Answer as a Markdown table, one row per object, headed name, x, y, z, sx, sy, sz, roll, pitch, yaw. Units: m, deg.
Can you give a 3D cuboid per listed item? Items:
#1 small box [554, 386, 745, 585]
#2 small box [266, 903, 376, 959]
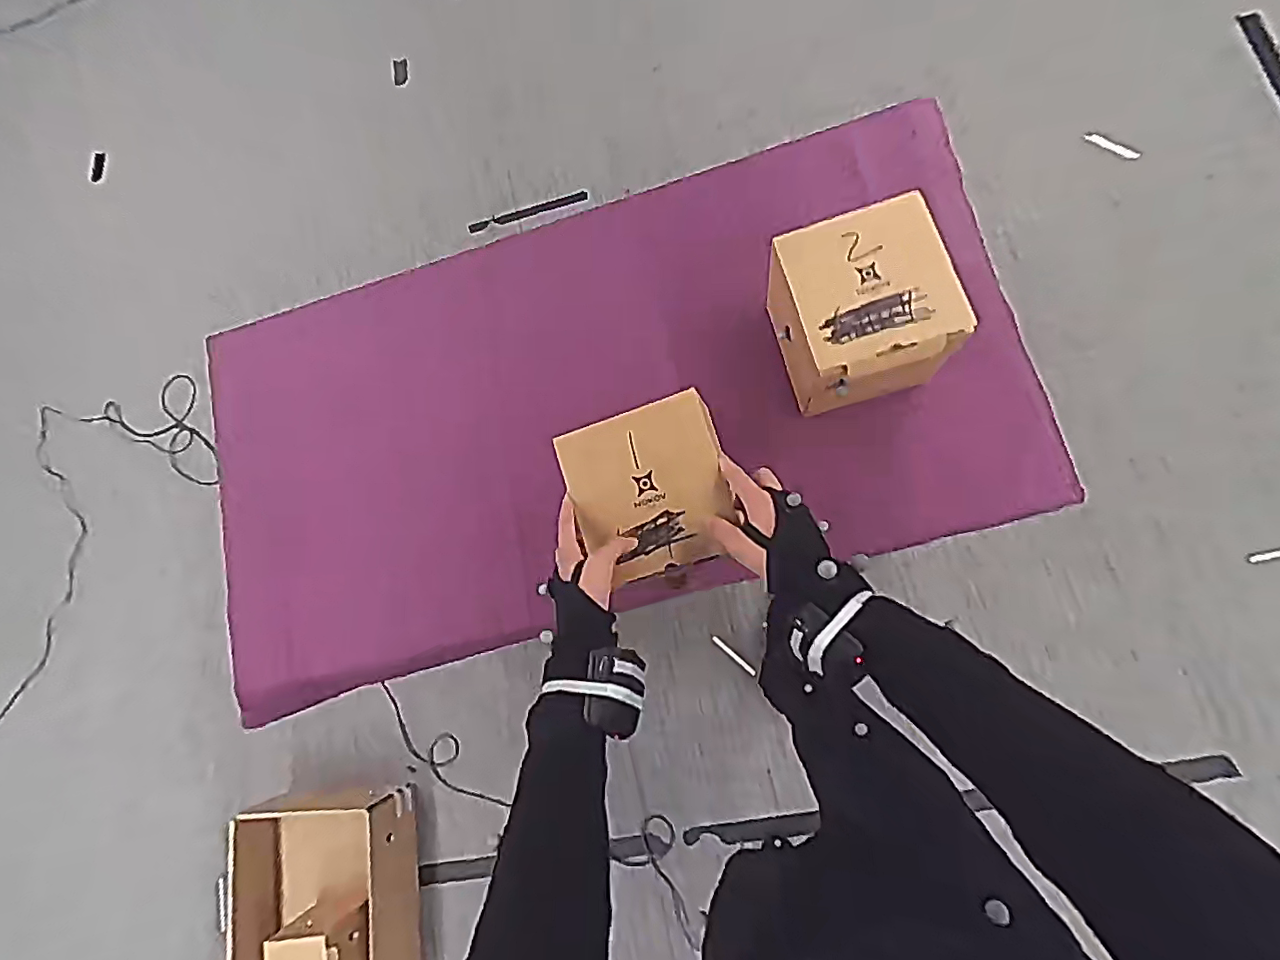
| name | x | y | z | sx | sy | sz | roll | pitch | yaw |
| --- | --- | --- | --- | --- | --- | --- | --- | --- | --- |
| small box | 0.023 | 0.007 | 0.647 | 0.168 | 0.176 | 0.179 | -19 | 86 | 11 |
| small box | -0.777 | 1.185 | 1.336 | 0.179 | 0.176 | 0.168 | -14 | 77 | 8 |
